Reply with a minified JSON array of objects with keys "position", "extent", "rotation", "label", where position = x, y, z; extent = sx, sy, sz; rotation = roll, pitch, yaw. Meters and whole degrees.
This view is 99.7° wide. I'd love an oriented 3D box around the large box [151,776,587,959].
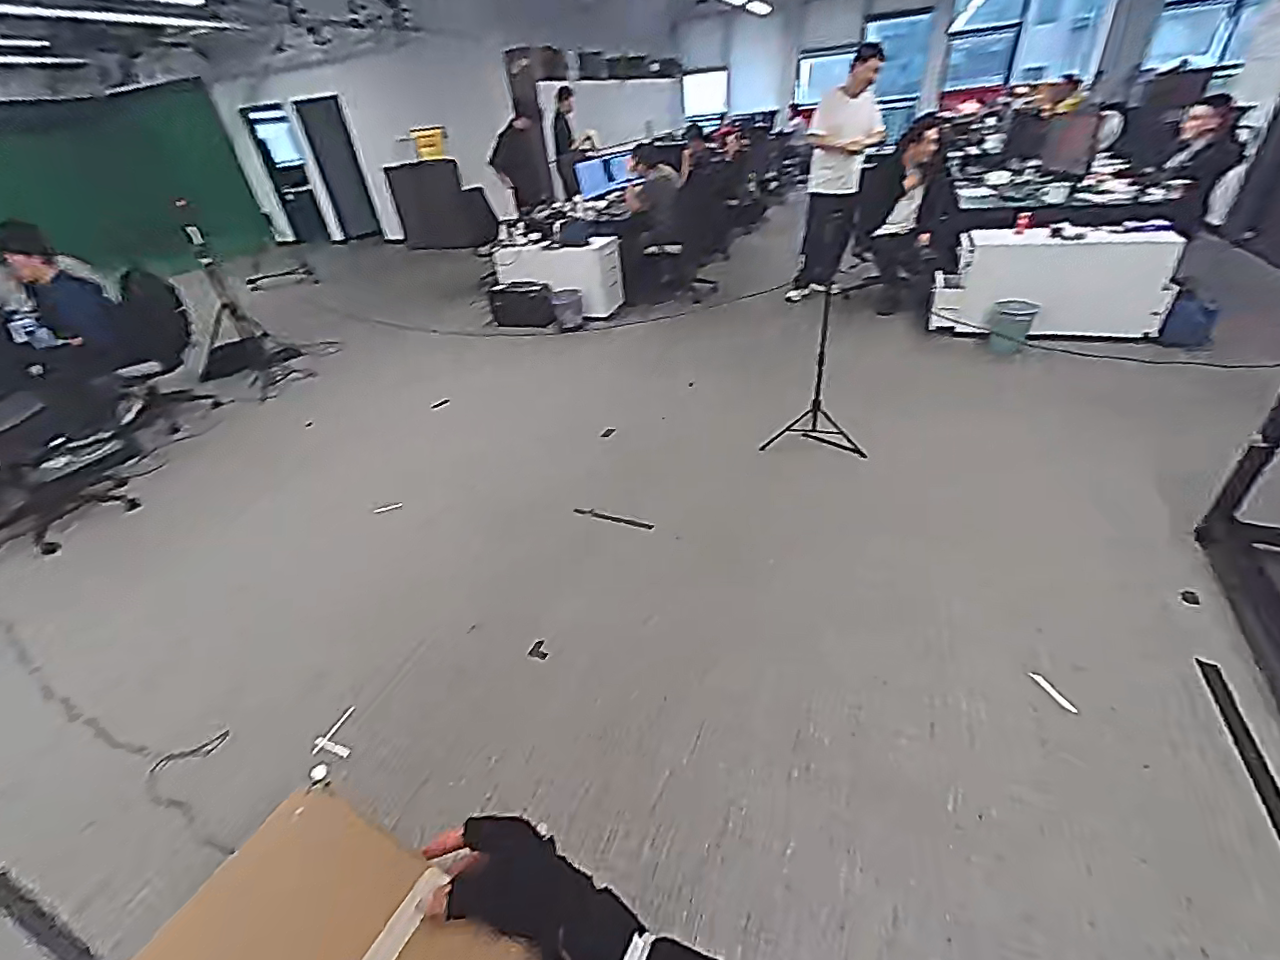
[{"position":[-0.257,0.546,0.408],"extent":[0.320,0.320,0.408],"rotation":[22,42,19],"label":"large box"}]
